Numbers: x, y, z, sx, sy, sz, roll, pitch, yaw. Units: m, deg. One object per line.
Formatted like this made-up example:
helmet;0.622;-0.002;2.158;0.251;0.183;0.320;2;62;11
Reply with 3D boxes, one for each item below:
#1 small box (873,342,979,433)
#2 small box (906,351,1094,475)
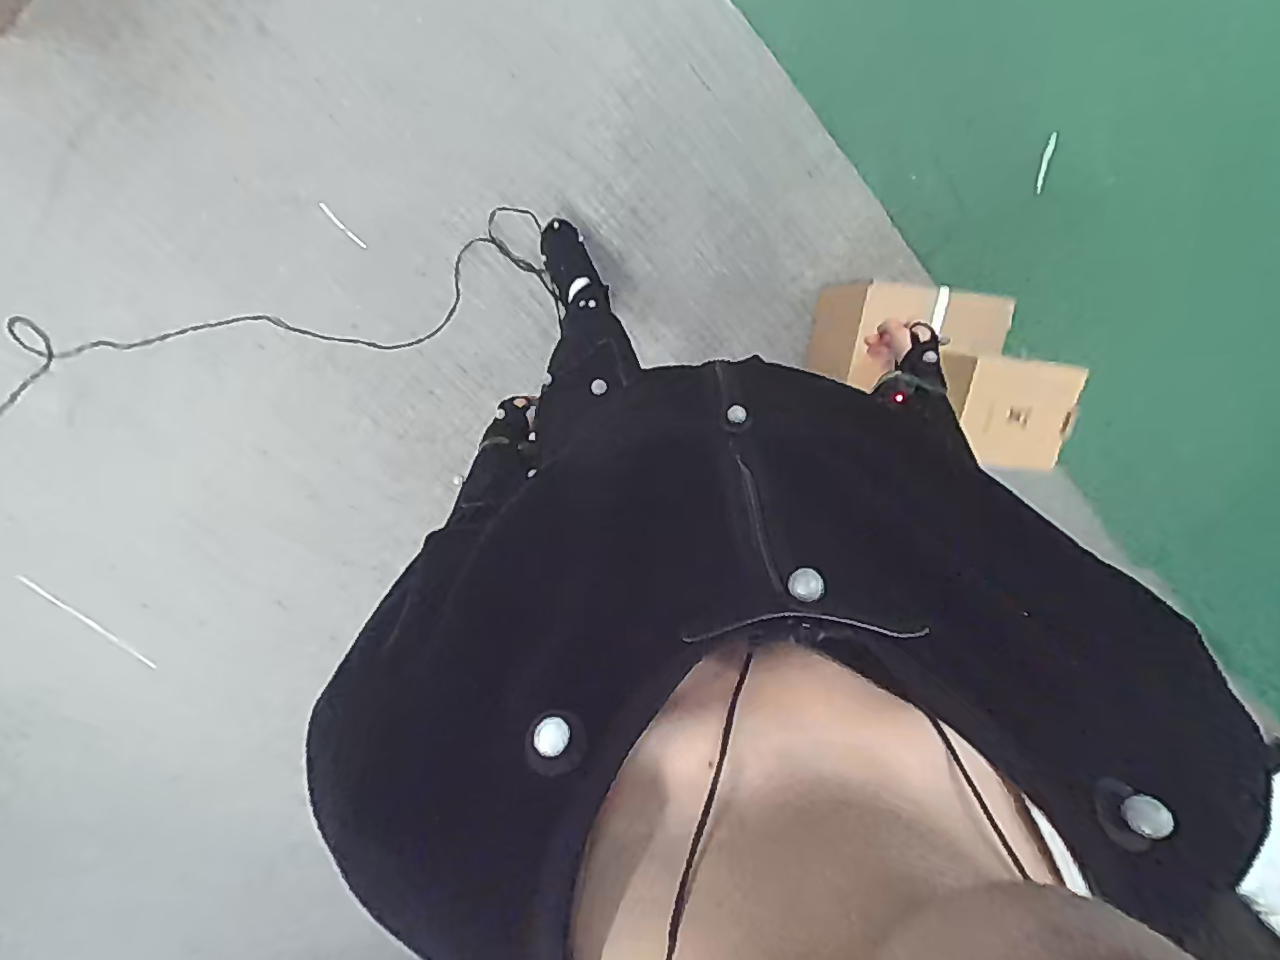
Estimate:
small box;0.595;-0.172;1.062;0.179;0.176;0.168;10;108;-2
small box;0.587;-0.119;0.908;0.179;0.176;0.168;7;107;-2
